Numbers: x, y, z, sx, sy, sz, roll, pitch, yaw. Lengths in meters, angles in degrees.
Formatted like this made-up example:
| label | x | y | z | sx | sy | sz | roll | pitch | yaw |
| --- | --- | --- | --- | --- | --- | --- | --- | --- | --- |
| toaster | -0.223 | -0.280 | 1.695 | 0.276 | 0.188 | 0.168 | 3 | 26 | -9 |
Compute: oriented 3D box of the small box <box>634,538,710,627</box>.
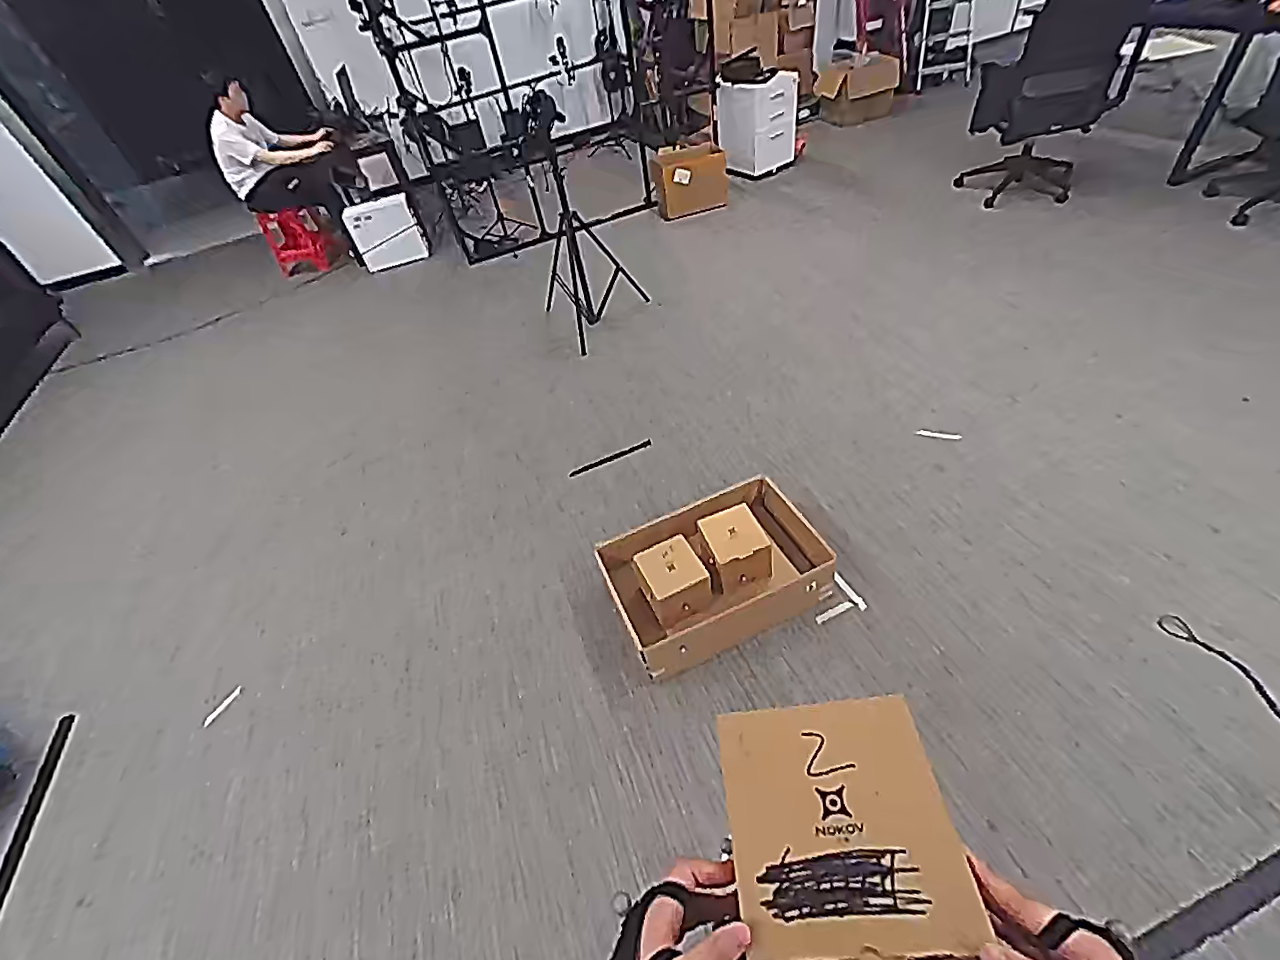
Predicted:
| label | x | y | z | sx | sy | sz | roll | pitch | yaw |
| --- | --- | --- | --- | --- | --- | --- | --- | --- | --- |
| small box | 0.099 | 0.310 | 1.604 | 0.168 | 0.176 | 0.179 | -23 | 46 | -12 |

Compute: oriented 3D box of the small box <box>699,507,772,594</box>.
| label | x | y | z | sx | sy | sz | roll | pitch | yaw |
| --- | --- | --- | --- | --- | --- | --- | --- | --- | --- |
| small box | 0.290 | 0.217 | 1.657 | 0.168 | 0.176 | 0.179 | -19 | 46 | -6 |
